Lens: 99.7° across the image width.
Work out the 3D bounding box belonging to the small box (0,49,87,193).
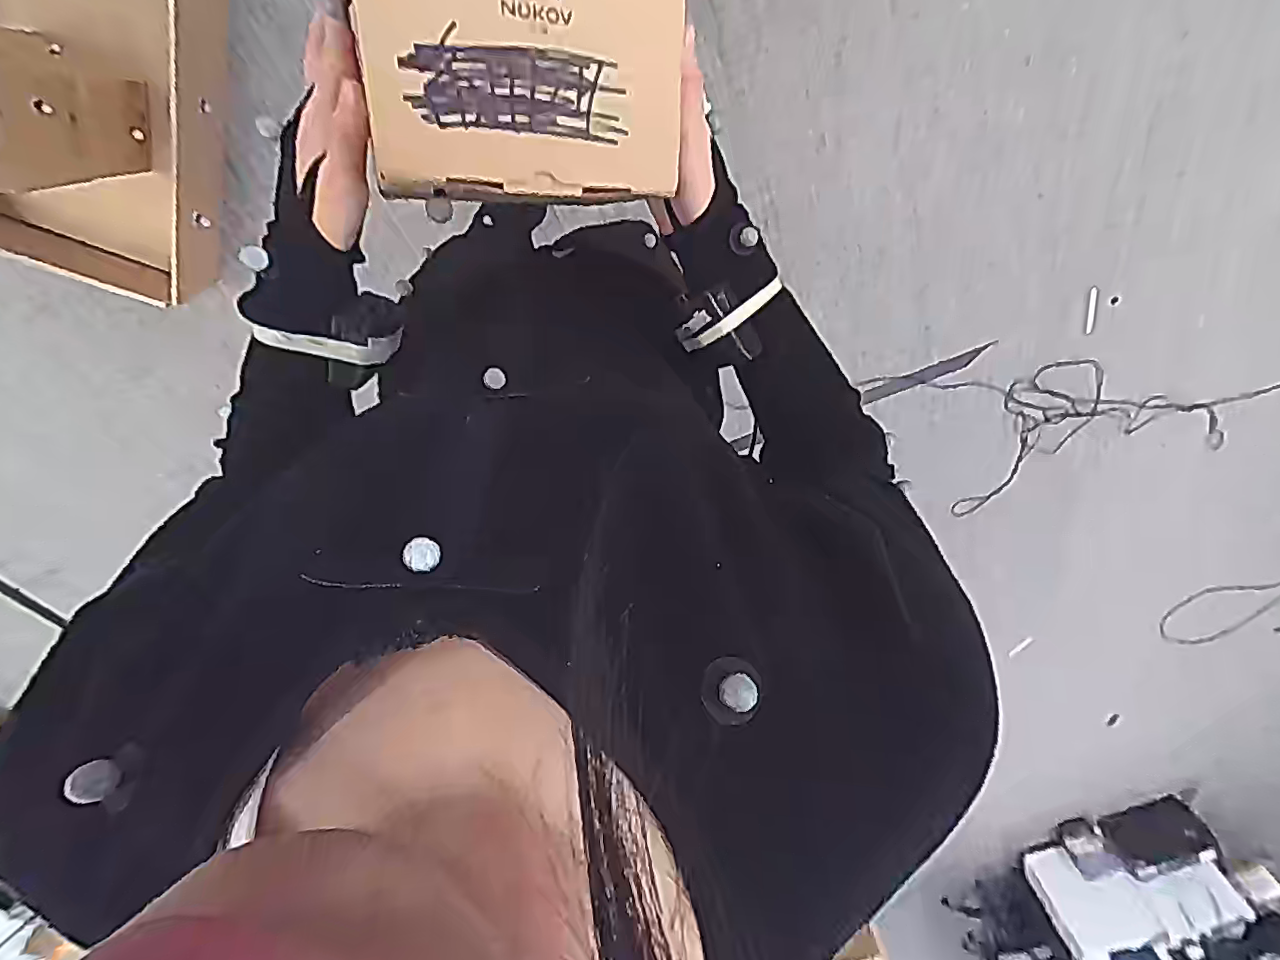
[{"bbox_3d":[-1.009,-0.566,0.829,0.179,0.176,0.168,14,121,-15],"label":"small box"}]

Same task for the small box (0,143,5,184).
[{"bbox_3d":[-0.988,-0.476,0.691,0.179,0.176,0.168,13,120,-16],"label":"small box"}]

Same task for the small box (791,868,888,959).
[{"bbox_3d":[0.504,1.124,1.379,0.168,0.176,0.179,-23,125,9],"label":"small box"}]

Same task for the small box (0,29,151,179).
[{"bbox_3d":[-1.022,-0.662,0.958,0.179,0.176,0.168,17,121,-19],"label":"small box"}]
